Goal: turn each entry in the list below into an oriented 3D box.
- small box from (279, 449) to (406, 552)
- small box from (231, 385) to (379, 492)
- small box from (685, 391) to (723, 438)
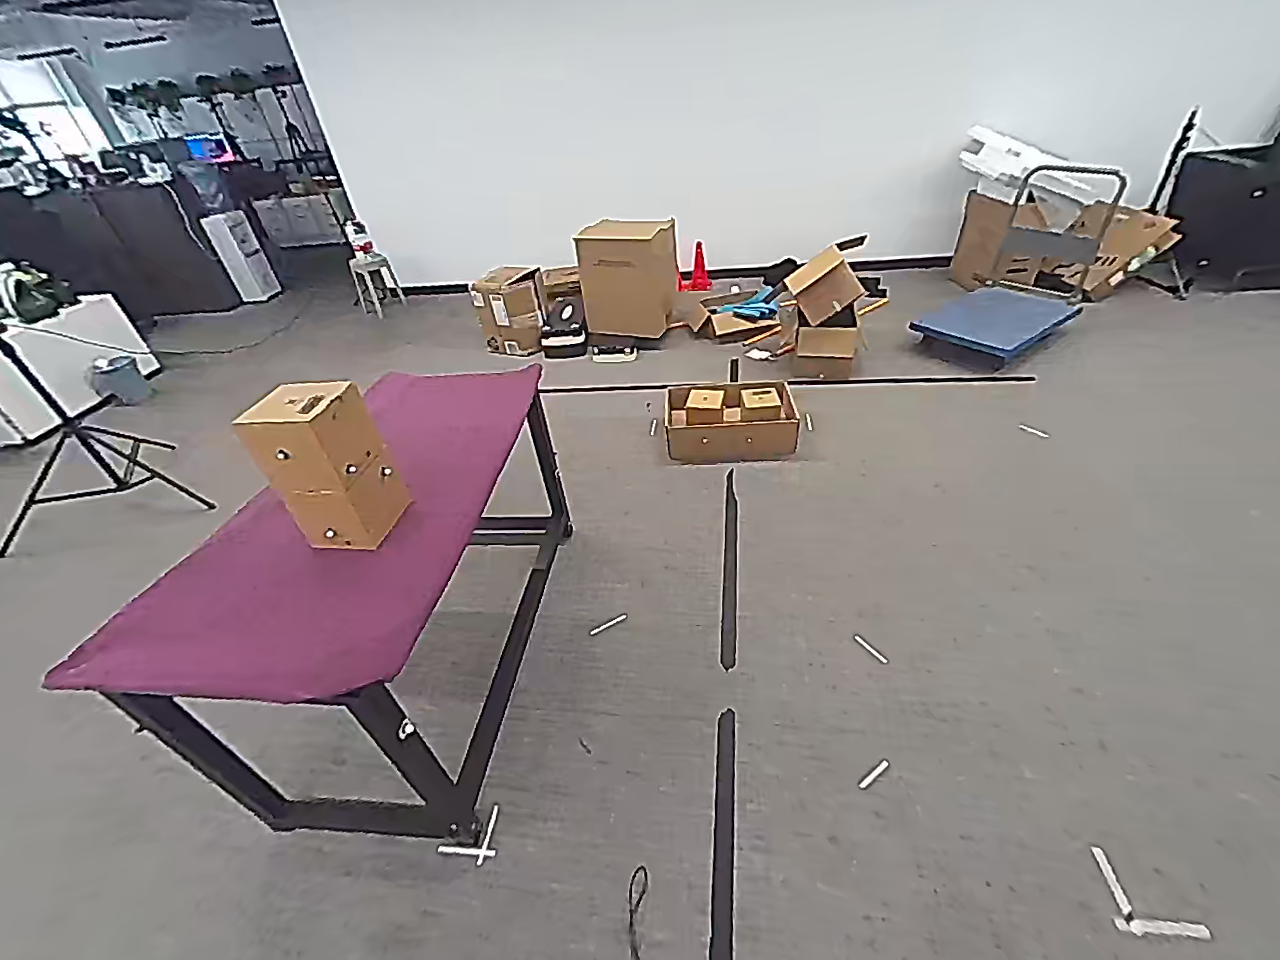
[{"bbox_3d":[-0.667,0.044,1.242,0.168,0.176,0.179,0,38,10],"label":"small box"},{"bbox_3d":[-0.692,-0.086,1.144,0.179,0.176,0.168,-2,37,9],"label":"small box"},{"bbox_3d":[0.317,-0.326,2.683,0.168,0.176,0.179,4,38,13],"label":"small box"}]
